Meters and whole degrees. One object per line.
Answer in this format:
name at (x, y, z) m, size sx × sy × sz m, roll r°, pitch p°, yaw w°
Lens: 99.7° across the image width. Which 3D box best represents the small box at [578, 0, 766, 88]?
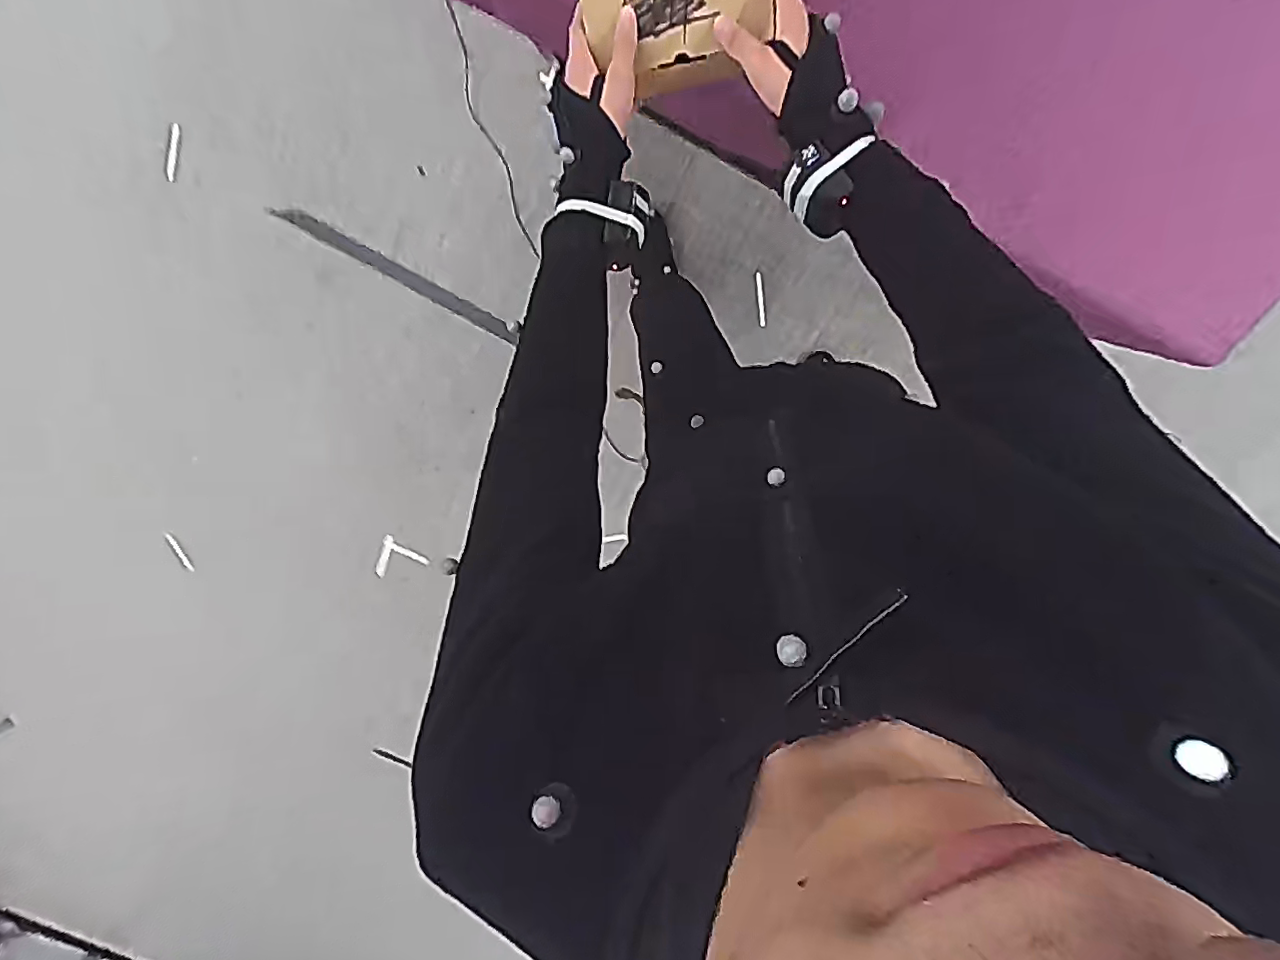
small box at (0.027, -0.496, 0.517) m, size 0.168 × 0.176 × 0.179 m, roll -6°, pitch 119°, yaw 8°
